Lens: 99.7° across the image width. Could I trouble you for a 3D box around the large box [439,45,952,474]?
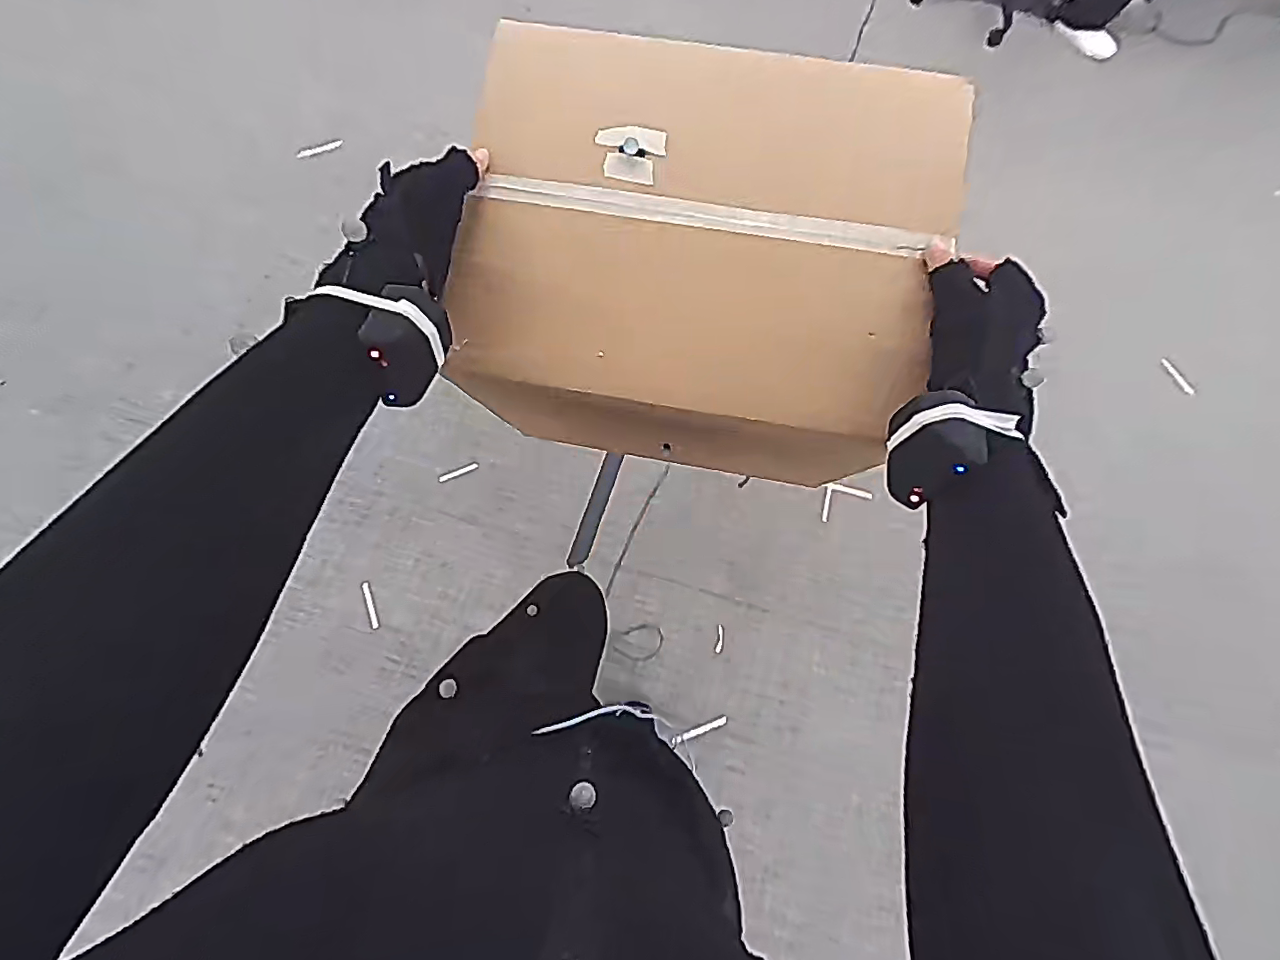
[{"bbox_3d":[0.058,-0.199,0.607,0.408,0.320,0.320,10,83,5],"label":"large box"}]
